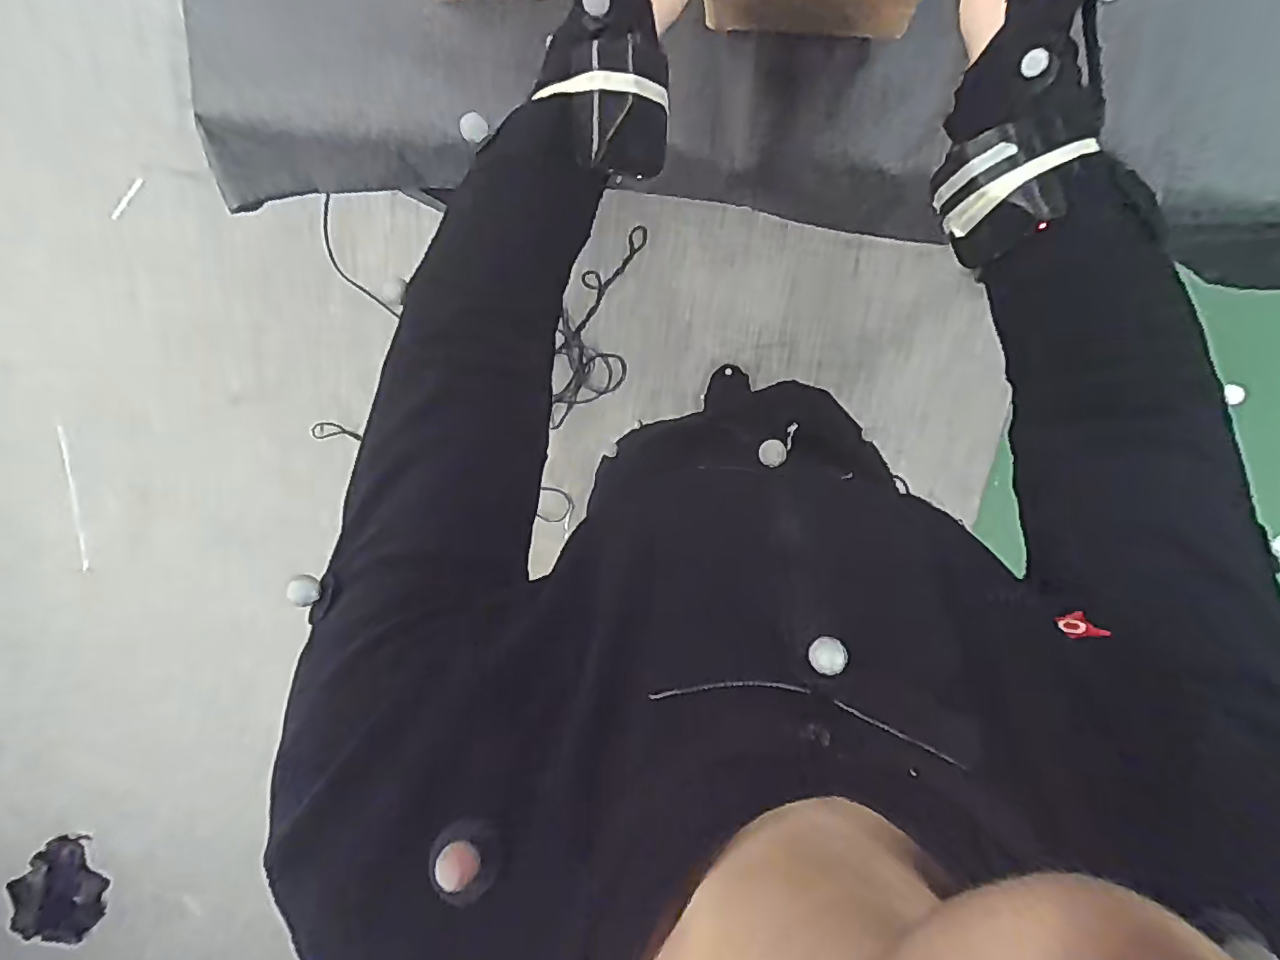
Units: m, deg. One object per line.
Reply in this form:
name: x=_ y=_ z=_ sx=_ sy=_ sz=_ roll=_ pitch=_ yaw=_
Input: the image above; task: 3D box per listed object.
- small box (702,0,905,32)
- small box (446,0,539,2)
small box: x=0.135 y=-0.455 z=0.383 sx=0.179 sy=0.176 sz=0.168 roll=8 pitch=108 yaw=7
small box: x=-0.124 y=-0.530 z=0.433 sx=0.179 sy=0.176 sz=0.168 roll=5 pitch=102 yaw=8
